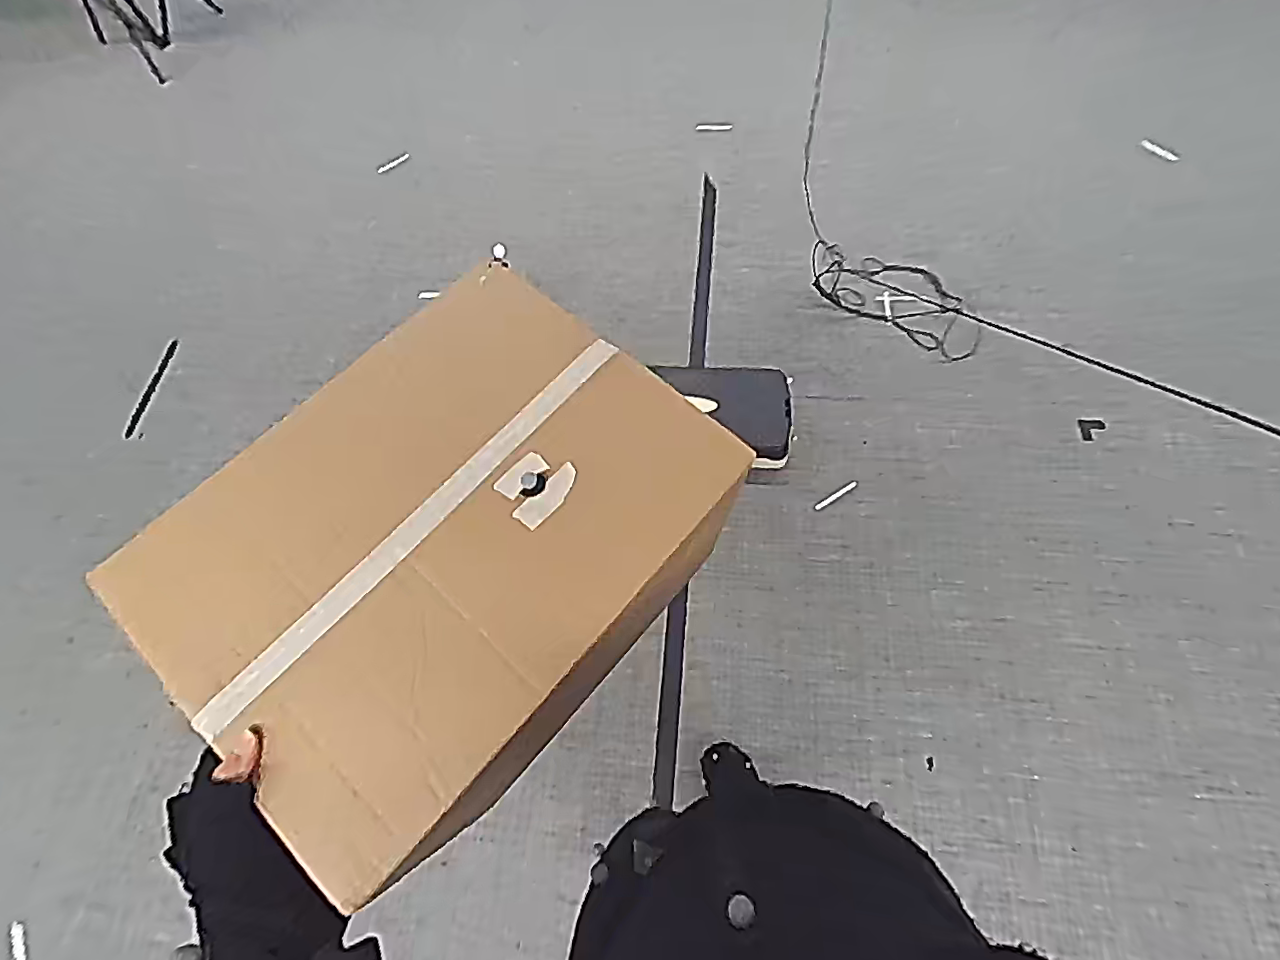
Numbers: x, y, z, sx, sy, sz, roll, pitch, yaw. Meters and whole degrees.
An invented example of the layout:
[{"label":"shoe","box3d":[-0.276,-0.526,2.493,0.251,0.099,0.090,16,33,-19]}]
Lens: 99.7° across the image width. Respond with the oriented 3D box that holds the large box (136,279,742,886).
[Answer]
[{"label":"large box","box3d":[-0.151,0.089,0.571,0.320,0.320,0.408,39,73,15]}]
